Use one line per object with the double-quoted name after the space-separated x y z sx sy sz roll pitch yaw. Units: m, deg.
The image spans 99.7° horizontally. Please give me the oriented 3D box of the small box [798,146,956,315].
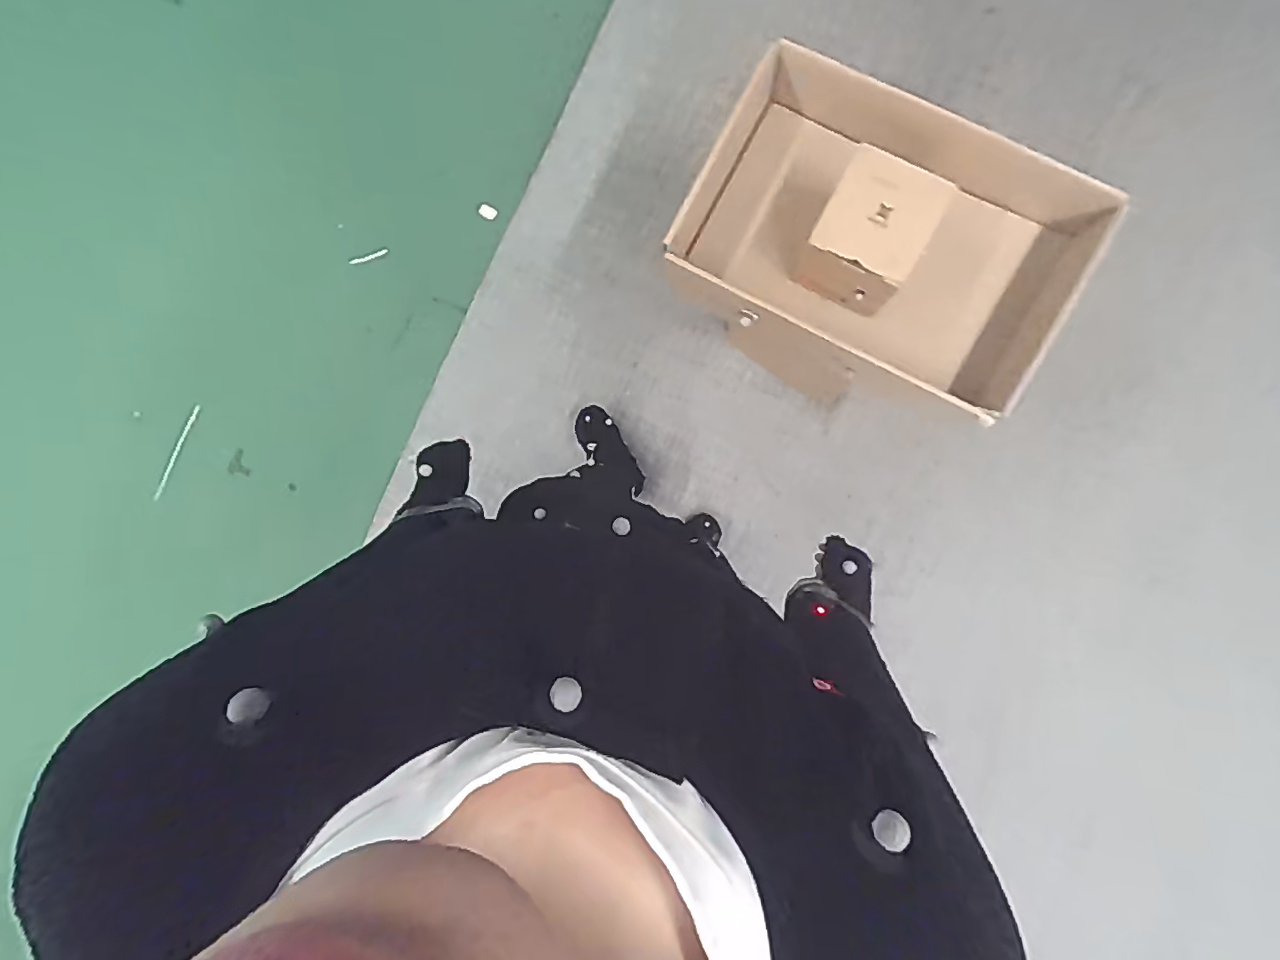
0.387 -0.410 0.922 0.168 0.176 0.179 28 91 5 "small box"
